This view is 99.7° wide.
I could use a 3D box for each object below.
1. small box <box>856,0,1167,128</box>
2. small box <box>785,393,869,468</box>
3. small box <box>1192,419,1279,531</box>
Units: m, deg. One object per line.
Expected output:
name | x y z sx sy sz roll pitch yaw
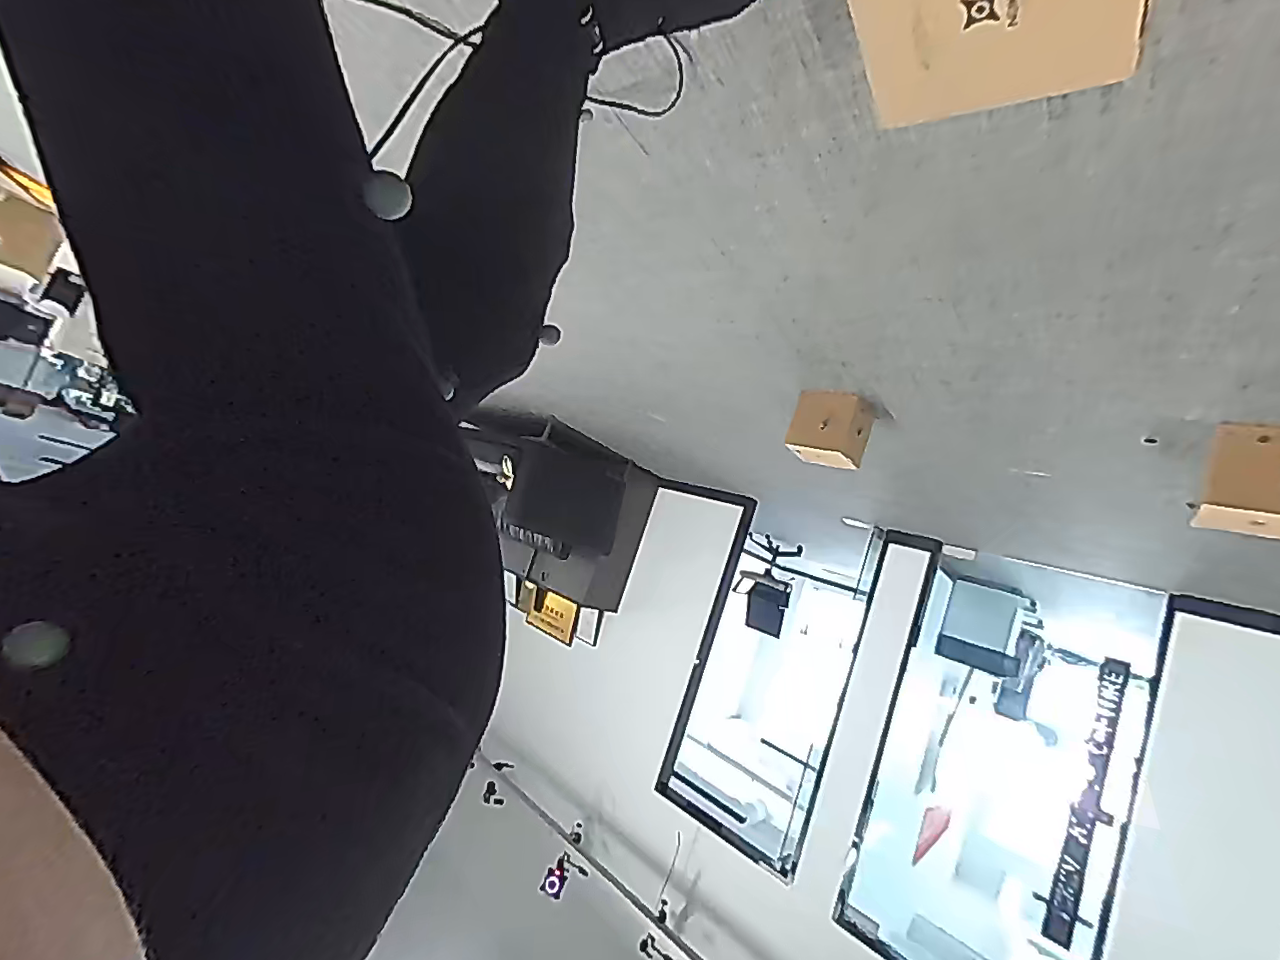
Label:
small box | 0.268 -0.398 0.376 0.179 0.176 0.168 13 171 38
small box | 0.553 -0.147 1.576 0.179 0.176 0.168 12 170 40
small box | 1.191 -0.008 1.030 0.168 0.176 0.179 11 171 41
